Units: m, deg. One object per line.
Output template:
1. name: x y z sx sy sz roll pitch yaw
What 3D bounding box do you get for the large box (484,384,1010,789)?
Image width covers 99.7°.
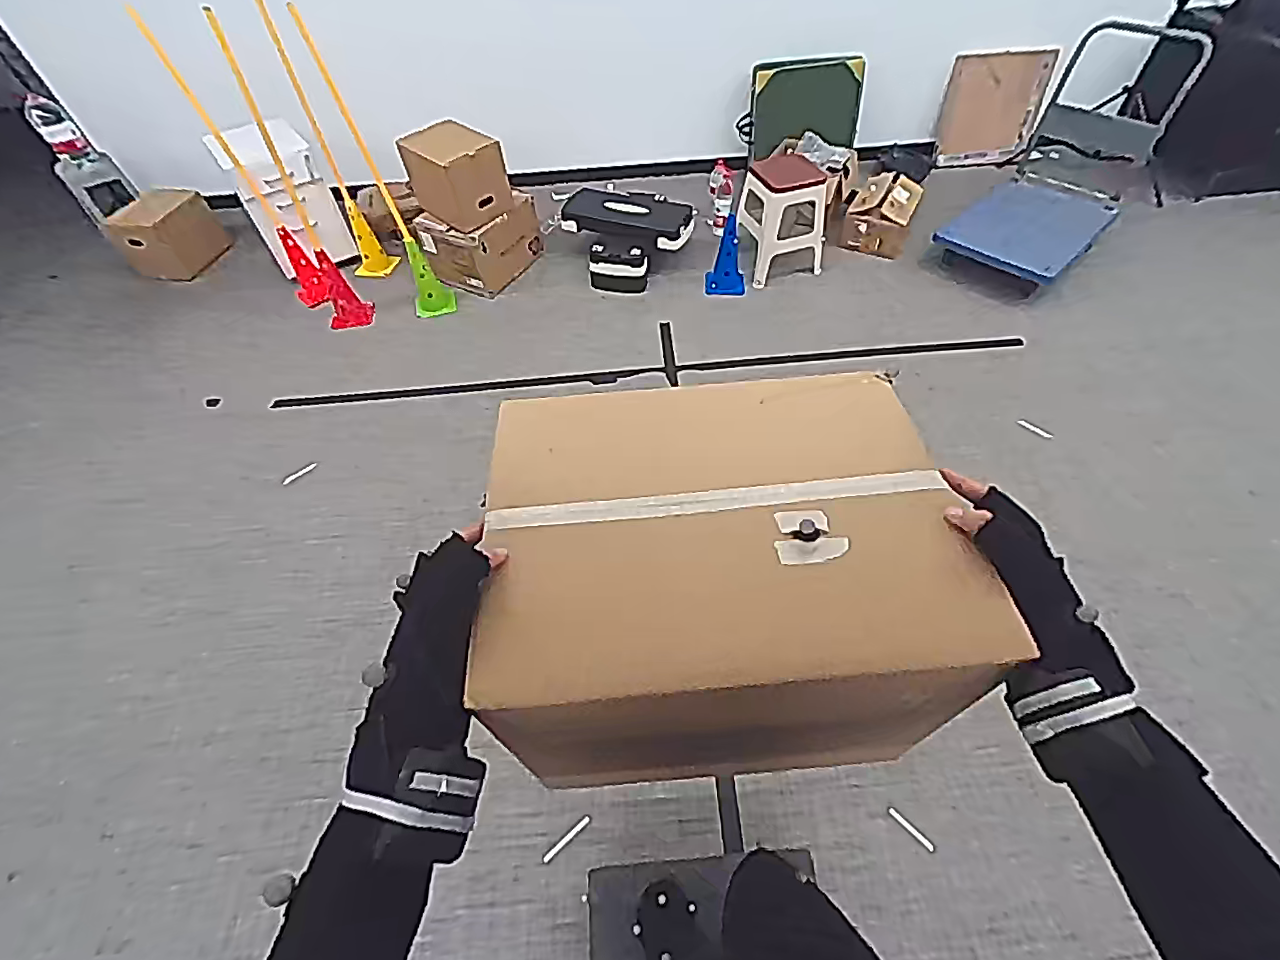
1. large box: 0.073 0.125 0.605 0.408 0.320 0.320 -5 51 -1
